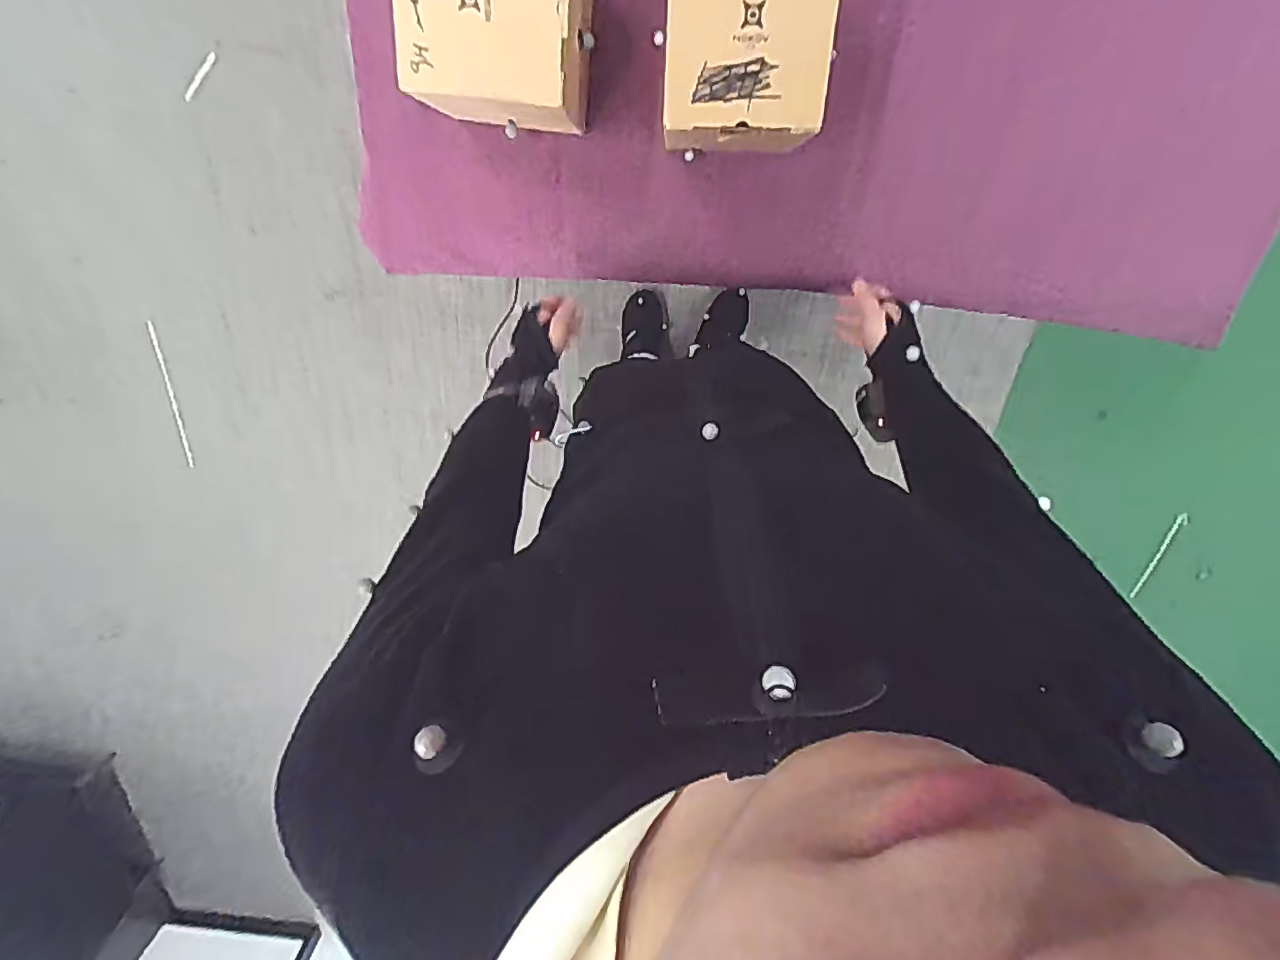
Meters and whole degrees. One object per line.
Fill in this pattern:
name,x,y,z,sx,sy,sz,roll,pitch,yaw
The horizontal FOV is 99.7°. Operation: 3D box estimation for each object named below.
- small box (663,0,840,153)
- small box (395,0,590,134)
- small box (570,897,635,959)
small box,0.114,-0.473,0.599,0.168,0.176,0.179,2,114,2
small box,-0.152,-0.499,0.602,0.179,0.176,0.168,6,115,-1
small box,-0.113,1.401,1.630,0.179,0.176,0.168,9,113,1
